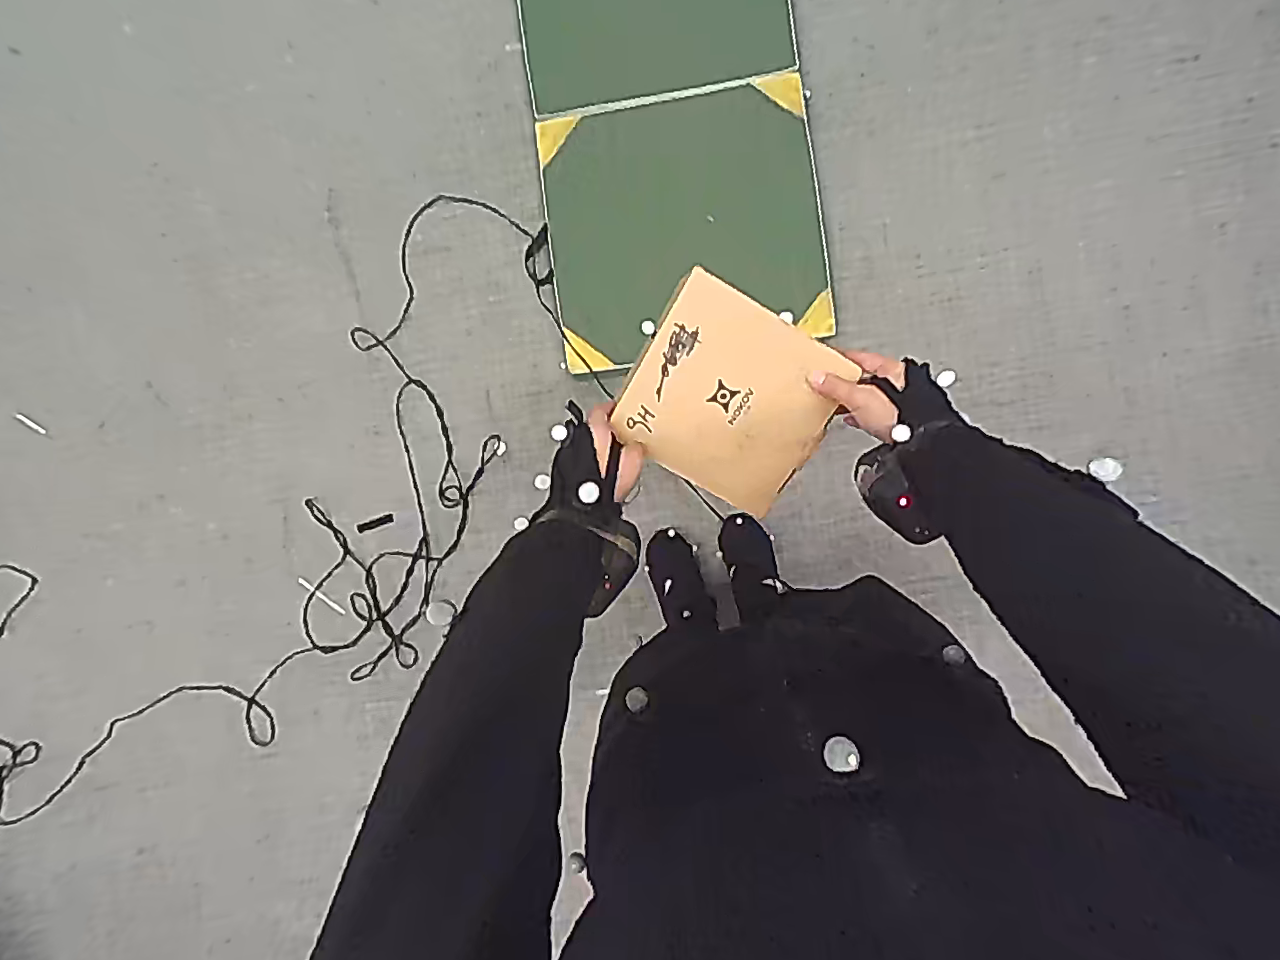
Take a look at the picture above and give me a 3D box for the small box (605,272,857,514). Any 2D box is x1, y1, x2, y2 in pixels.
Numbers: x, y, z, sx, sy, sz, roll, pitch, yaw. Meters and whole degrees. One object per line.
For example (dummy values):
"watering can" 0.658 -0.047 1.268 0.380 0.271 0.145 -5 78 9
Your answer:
"small box" 0.083 -0.097 0.567 0.179 0.176 0.168 29 106 -7
